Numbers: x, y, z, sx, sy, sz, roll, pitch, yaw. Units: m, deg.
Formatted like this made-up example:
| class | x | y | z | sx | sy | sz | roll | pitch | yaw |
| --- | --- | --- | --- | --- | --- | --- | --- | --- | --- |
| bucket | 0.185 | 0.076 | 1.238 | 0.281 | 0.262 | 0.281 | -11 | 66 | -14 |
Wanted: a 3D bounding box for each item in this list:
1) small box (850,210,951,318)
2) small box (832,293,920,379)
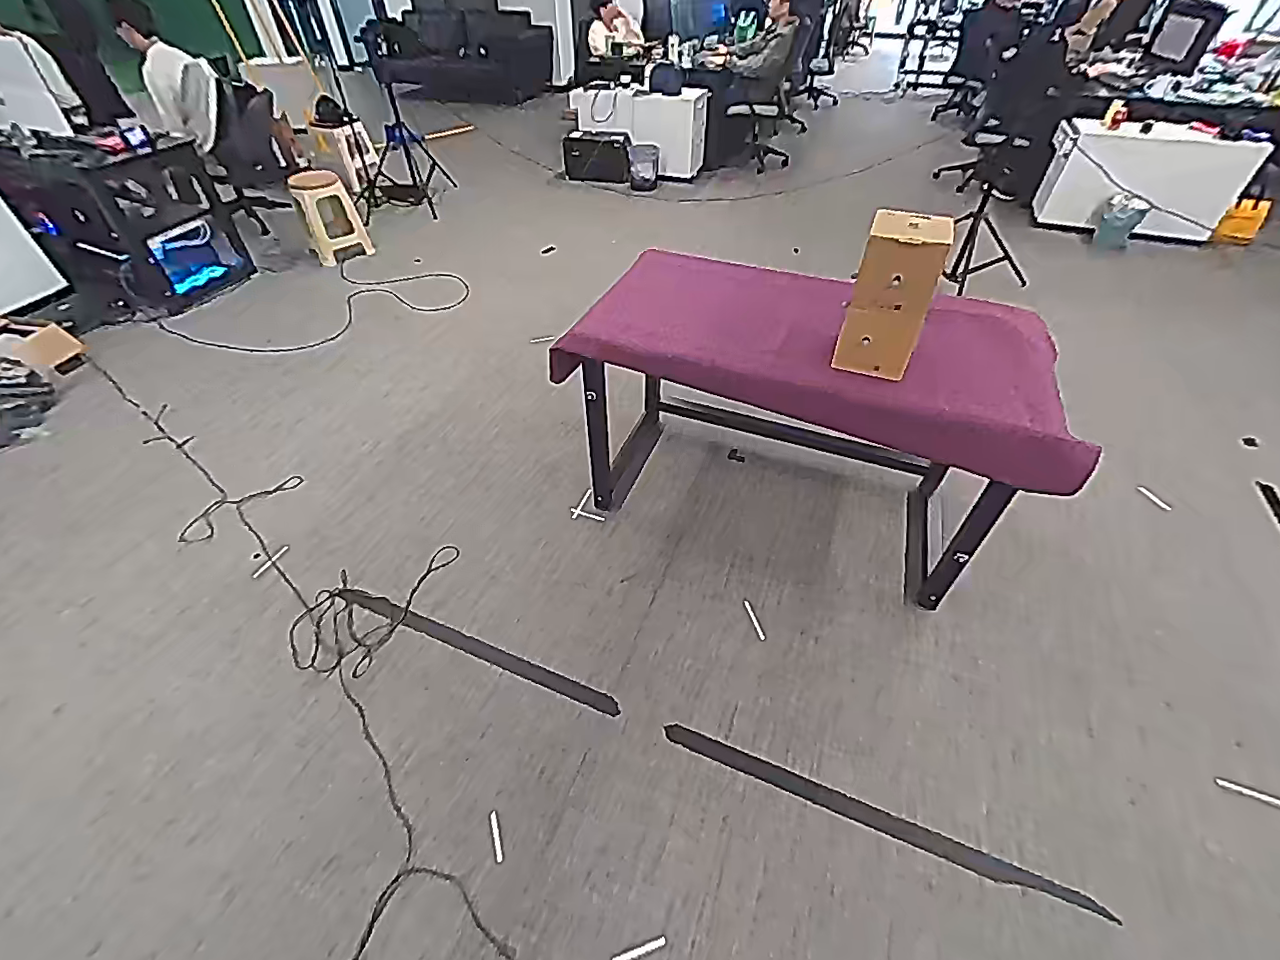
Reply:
| class | x | y | z | sx | sy | sz | roll | pitch | yaw |
| --- | --- | --- | --- | --- | --- | --- | --- | --- | --- |
| small box | 0.591 | -0.493 | 1.237 | 0.168 | 0.176 | 0.179 | 16 | 47 | 16 |
| small box | 0.589 | -0.374 | 1.350 | 0.168 | 0.176 | 0.179 | 16 | 47 | 16 |
